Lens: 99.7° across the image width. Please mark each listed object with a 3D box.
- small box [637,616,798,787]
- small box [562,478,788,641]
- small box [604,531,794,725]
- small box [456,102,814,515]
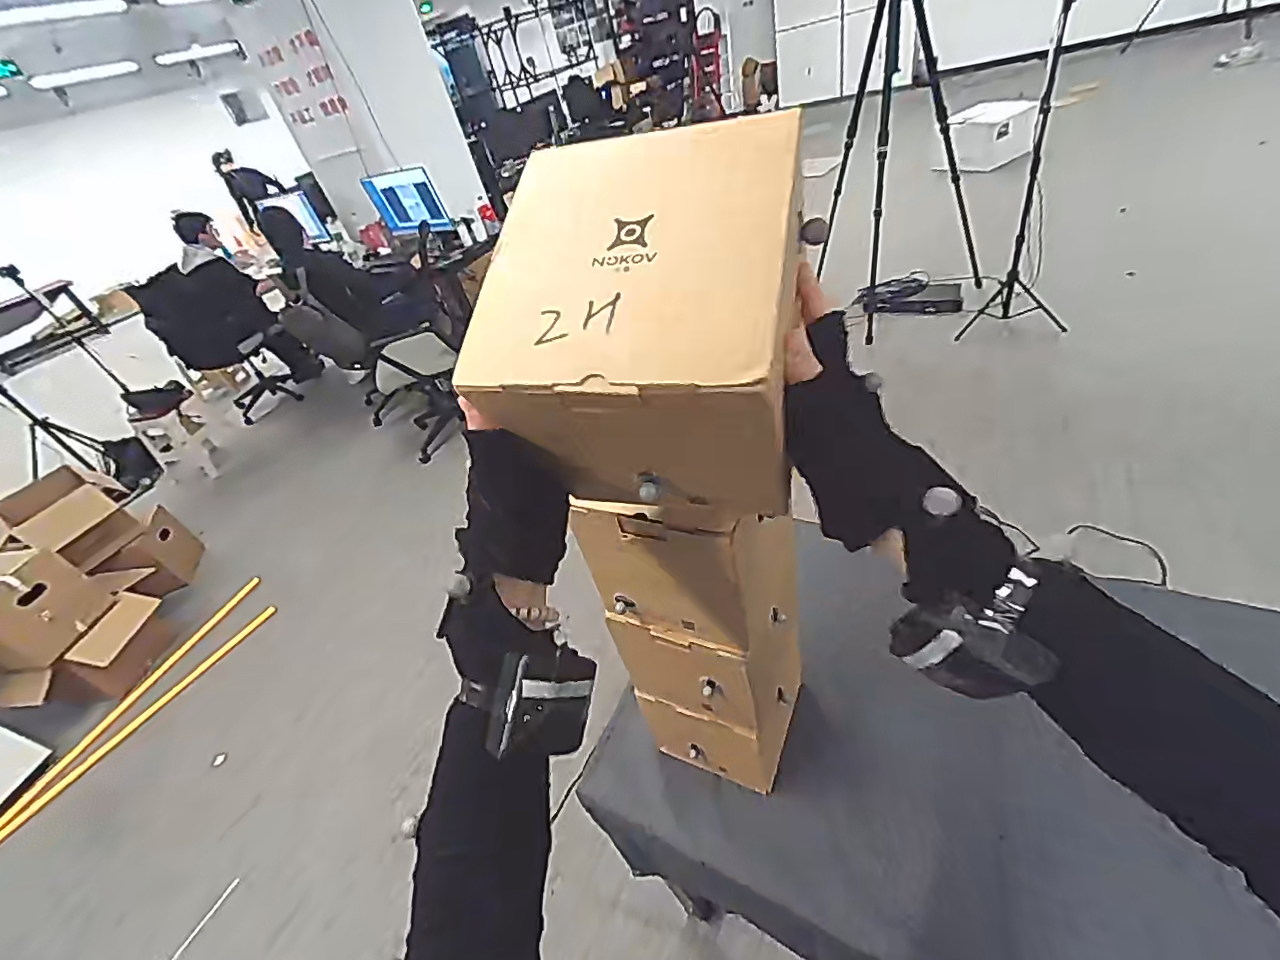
[{"bbox_3d":[0.118,0.286,0.757,0.168,0.176,0.179,9,46,28],"label":"small box"},{"bbox_3d":[0.052,0.036,0.557,0.168,0.176,0.179,10,46,27],"label":"small box"},{"bbox_3d":[0.085,0.162,0.656,0.168,0.176,0.179,10,46,28],"label":"small box"},{"bbox_3d":[0.019,-0.092,0.348,0.168,0.176,0.179,4,70,20],"label":"small box"}]
